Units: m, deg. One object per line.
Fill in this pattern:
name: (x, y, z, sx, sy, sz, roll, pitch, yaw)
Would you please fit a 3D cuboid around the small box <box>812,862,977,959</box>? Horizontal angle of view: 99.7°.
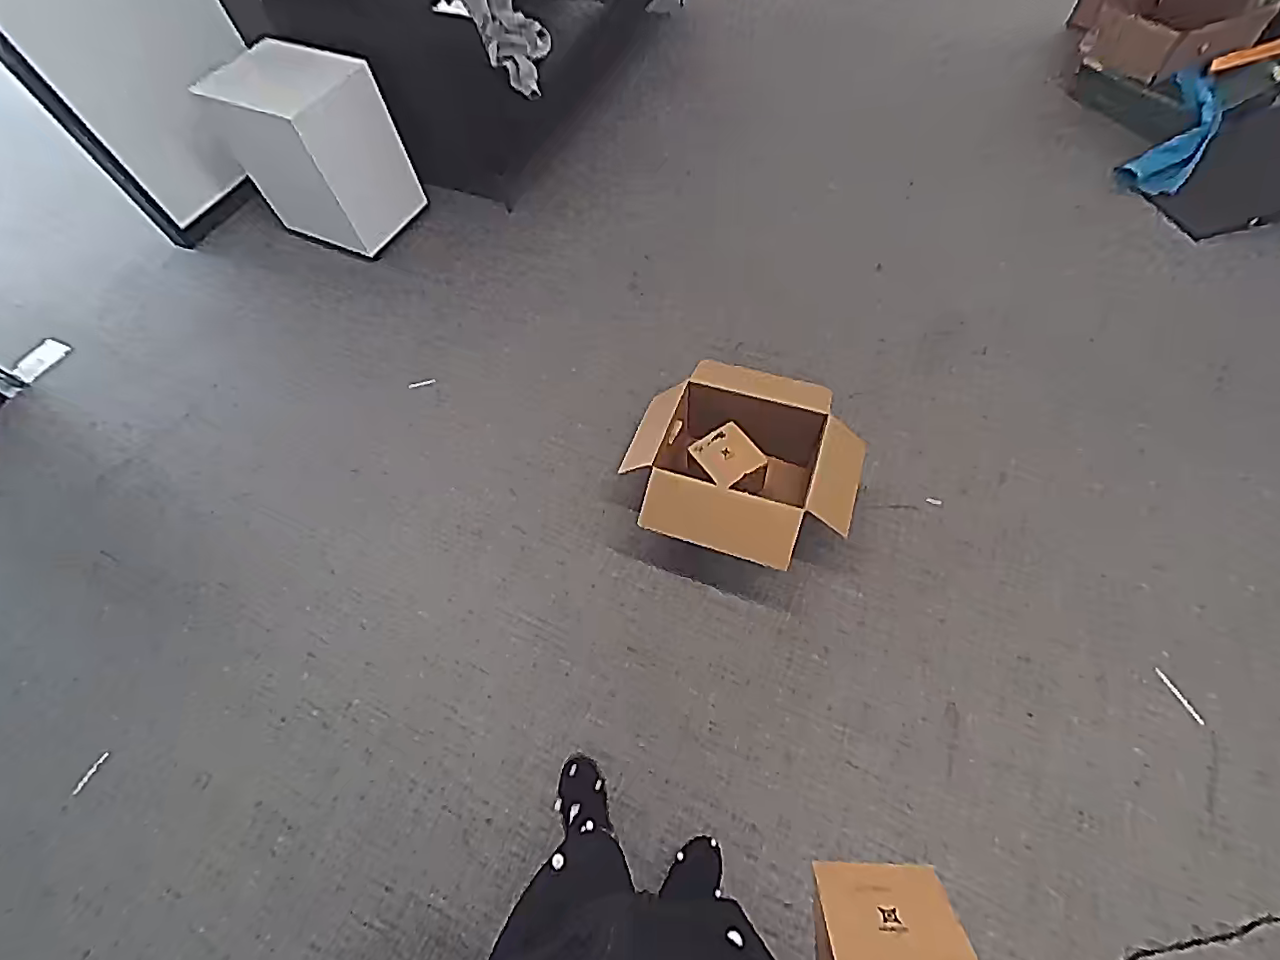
small box: (0.322, 0.636, 0.690, 0.168, 0.179, 0.176, -2, 95, 7)
